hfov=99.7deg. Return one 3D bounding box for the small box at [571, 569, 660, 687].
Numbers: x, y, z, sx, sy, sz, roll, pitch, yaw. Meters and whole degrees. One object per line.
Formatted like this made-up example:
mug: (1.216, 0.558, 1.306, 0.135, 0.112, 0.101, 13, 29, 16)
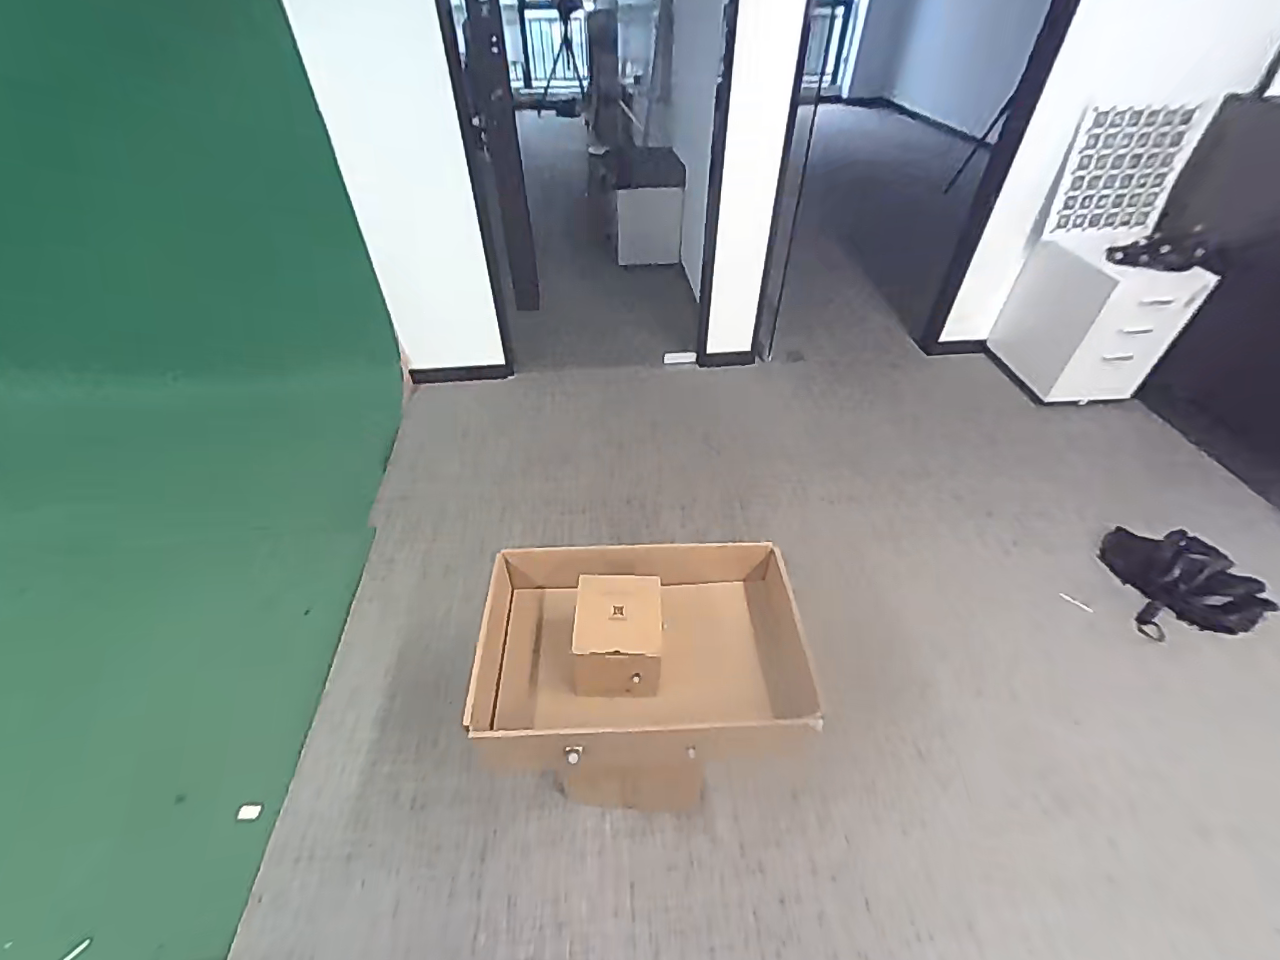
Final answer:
small box: (-0.045, 0.299, 1.087, 0.168, 0.176, 0.179, 2, 42, -2)
